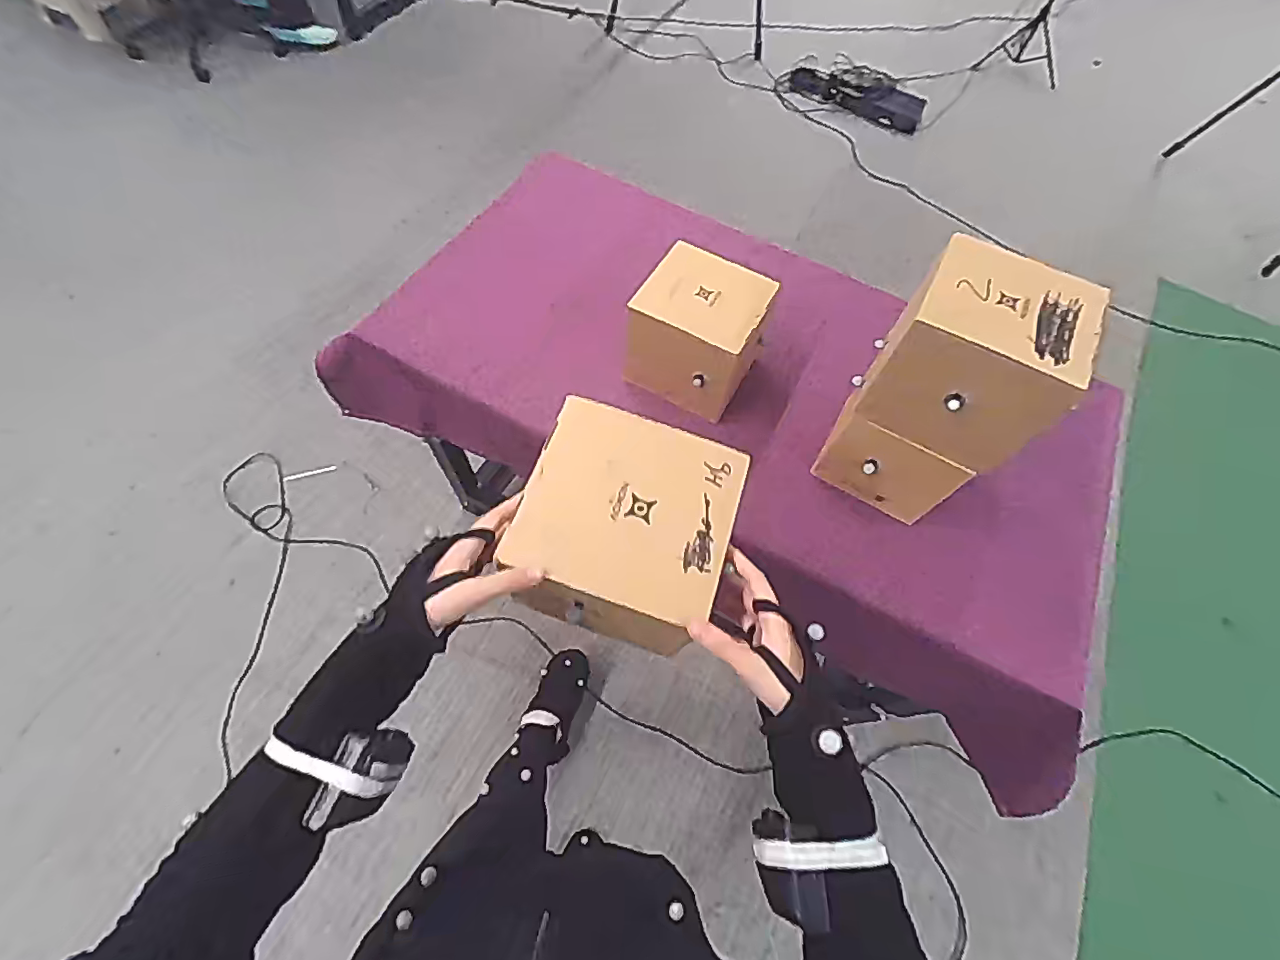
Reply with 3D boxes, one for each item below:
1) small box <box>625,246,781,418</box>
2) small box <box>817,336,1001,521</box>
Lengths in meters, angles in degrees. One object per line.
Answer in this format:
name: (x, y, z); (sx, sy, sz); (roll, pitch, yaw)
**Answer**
small box: (0.091, -0.224, 0.855); (0.179, 0.176, 0.168); (28, 62, 11)
small box: (0.381, -0.068, 0.794); (0.168, 0.176, 0.179); (29, 63, 11)
